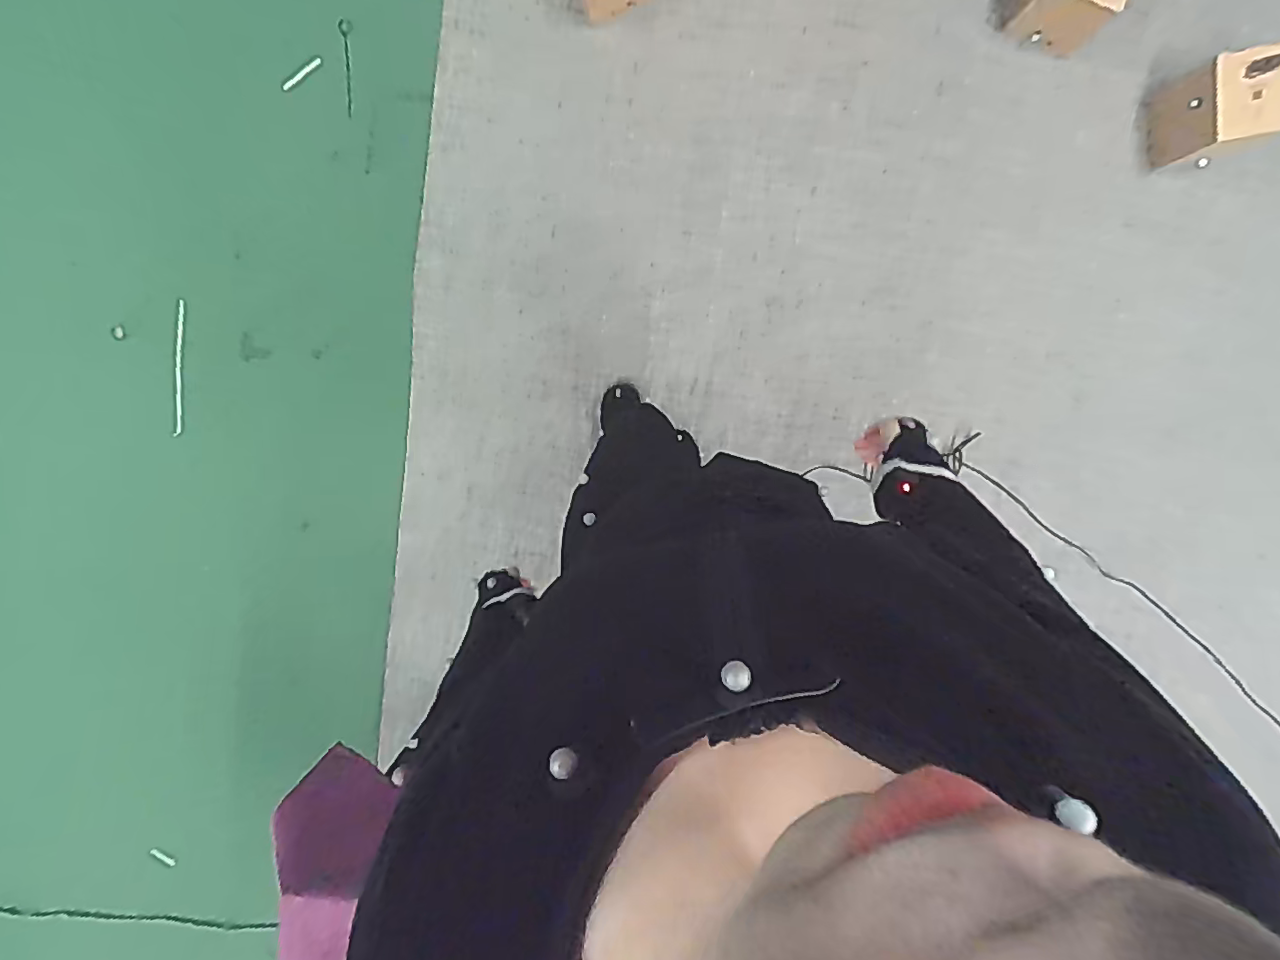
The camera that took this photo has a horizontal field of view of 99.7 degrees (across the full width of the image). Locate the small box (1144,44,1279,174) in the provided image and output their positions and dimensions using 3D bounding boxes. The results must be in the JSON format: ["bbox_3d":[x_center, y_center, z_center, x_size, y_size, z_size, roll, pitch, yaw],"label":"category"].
[{"bbox_3d":[1.301,-0.833,1.229,0.168,0.176,0.179,-9,98,4],"label":"small box"}]

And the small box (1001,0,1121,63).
[{"bbox_3d":[0.959,-1.097,1.206,0.168,0.176,0.179,22,99,0],"label":"small box"}]
